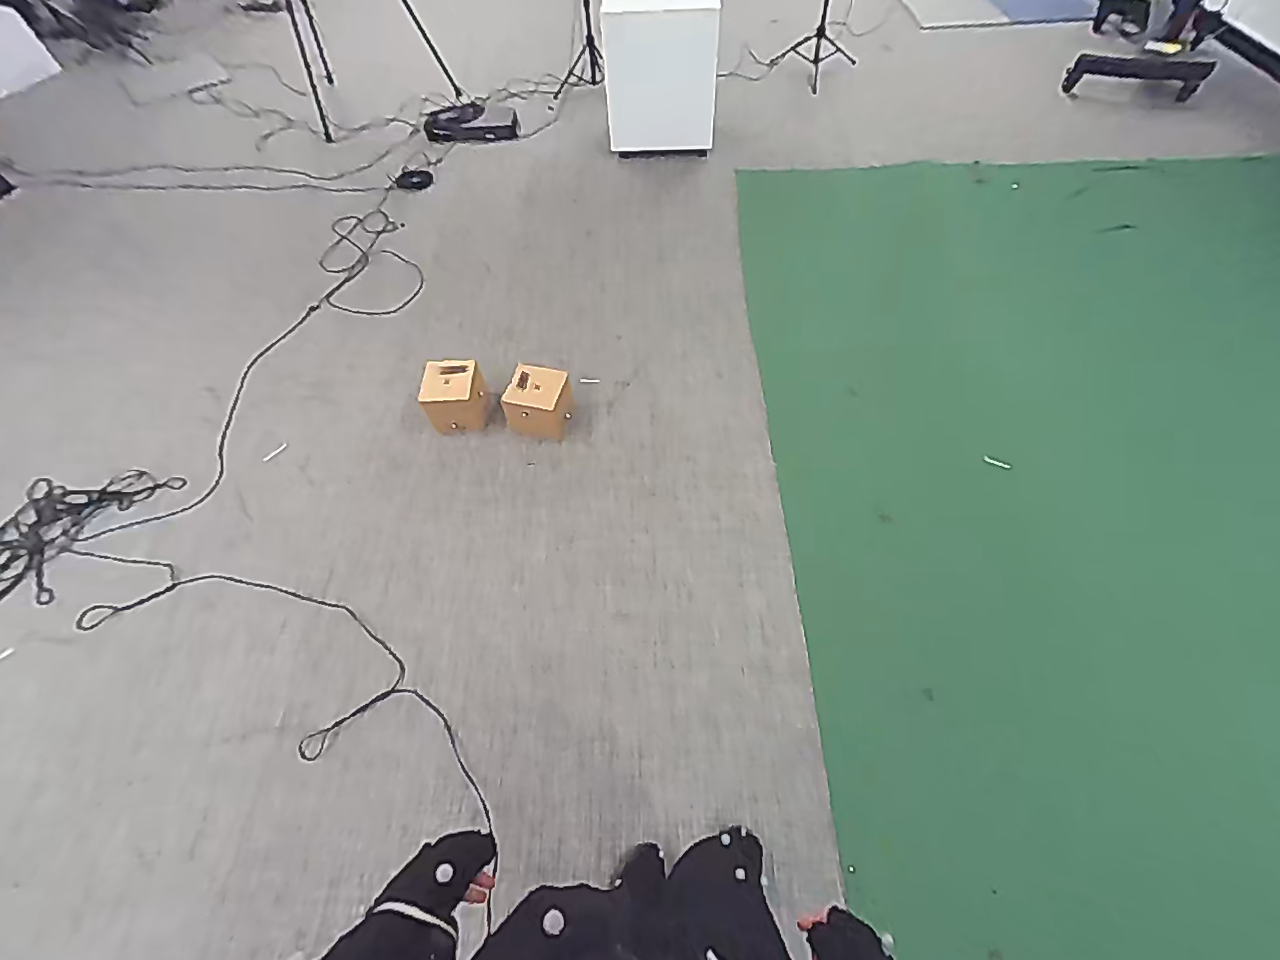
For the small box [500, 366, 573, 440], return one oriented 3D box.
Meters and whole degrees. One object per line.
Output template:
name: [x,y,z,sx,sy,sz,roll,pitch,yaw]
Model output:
small box: [-0.336,-0.252,1.796,0.179,0.176,0.168,12,59,8]
